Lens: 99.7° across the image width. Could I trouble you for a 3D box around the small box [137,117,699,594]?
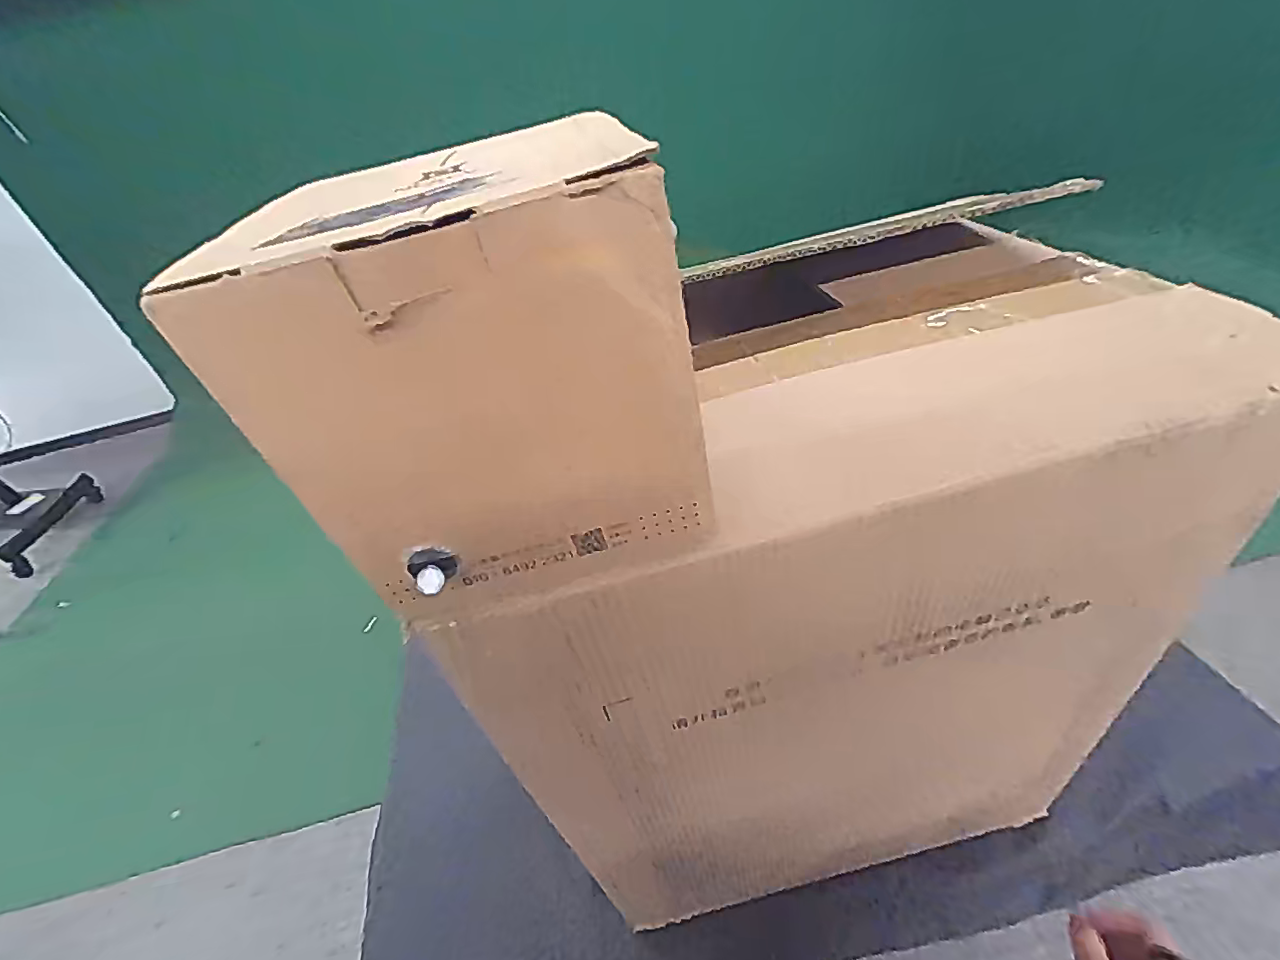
[{"bbox_3d":[-0.074,-0.062,0.280,0.168,0.176,0.179,-15,39,0],"label":"small box"}]
